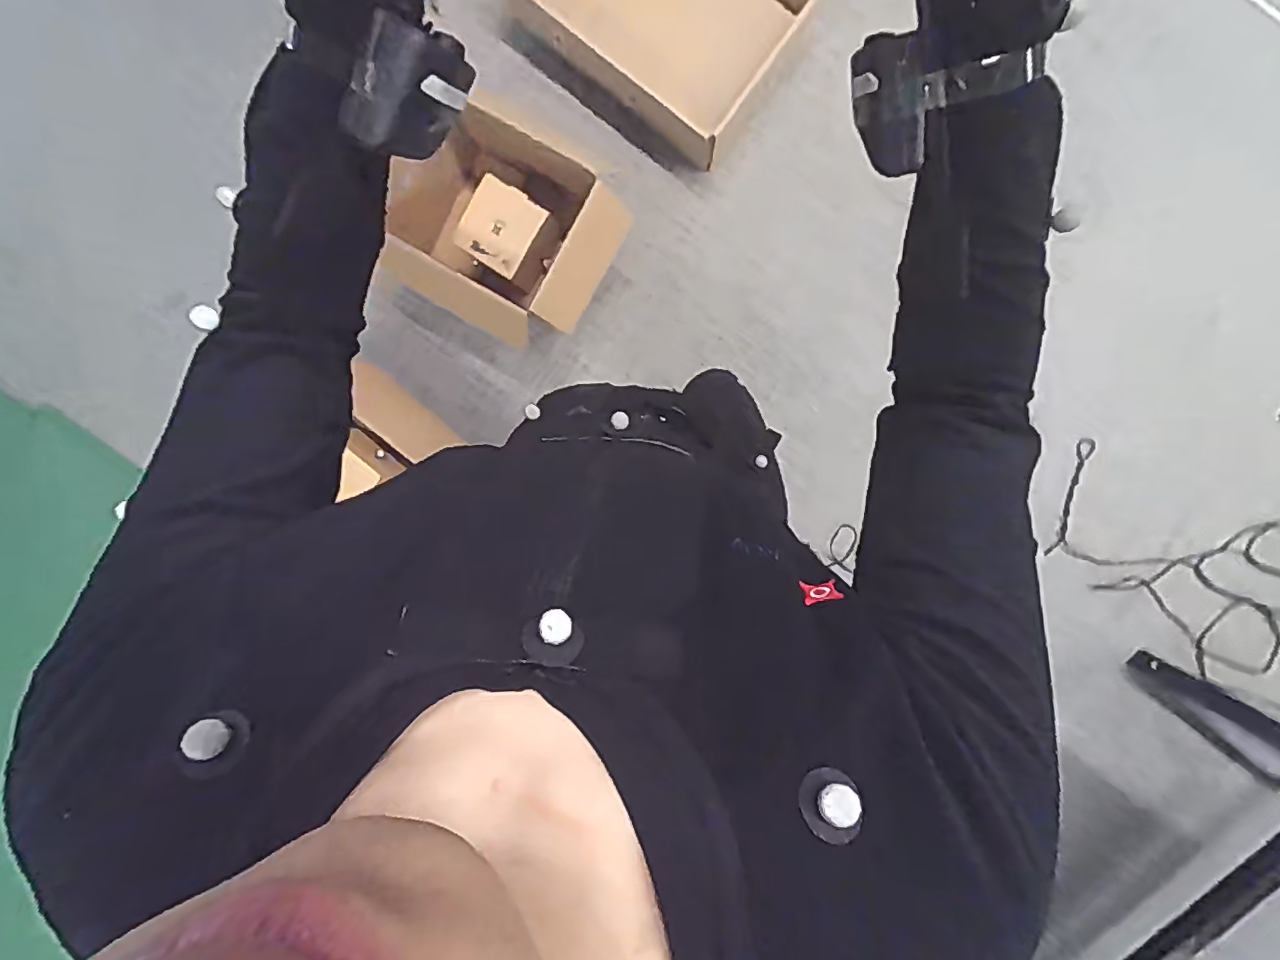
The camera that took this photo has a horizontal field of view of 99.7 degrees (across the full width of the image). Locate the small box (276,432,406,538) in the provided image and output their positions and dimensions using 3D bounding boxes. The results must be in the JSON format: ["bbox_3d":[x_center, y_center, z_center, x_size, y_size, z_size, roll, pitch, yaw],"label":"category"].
[{"bbox_3d":[-0.671,0.002,1.242,0.168,0.176,0.179,39,97,-2],"label":"small box"}]
